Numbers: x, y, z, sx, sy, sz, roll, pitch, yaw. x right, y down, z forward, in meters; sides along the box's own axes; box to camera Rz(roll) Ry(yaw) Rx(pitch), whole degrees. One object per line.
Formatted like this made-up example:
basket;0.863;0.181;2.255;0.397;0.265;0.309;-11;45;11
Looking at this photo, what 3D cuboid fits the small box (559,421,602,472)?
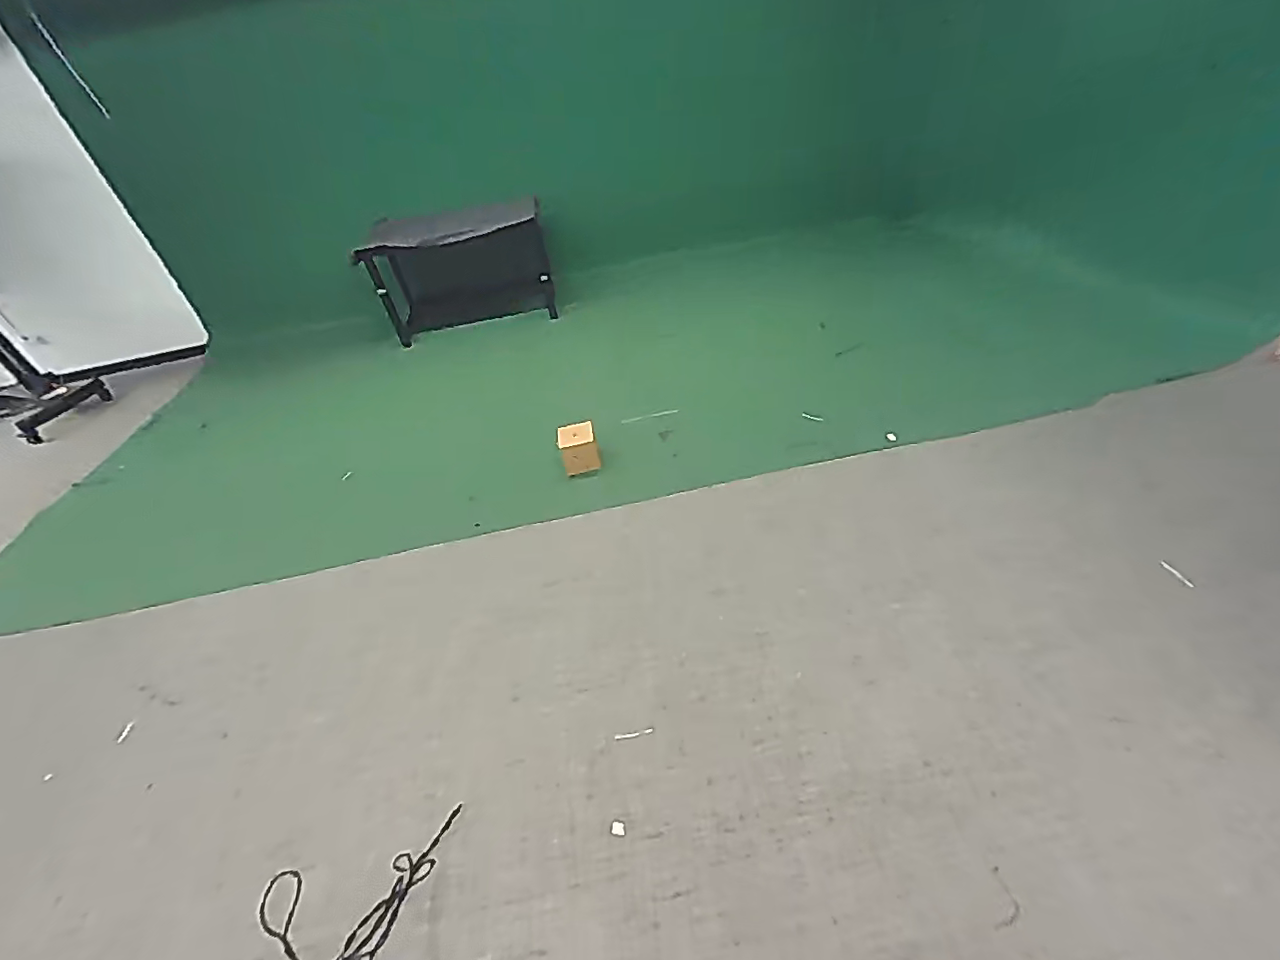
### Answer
small box;-0.281;-0.151;2.565;0.168;0.176;0.179;-13;38;-1
